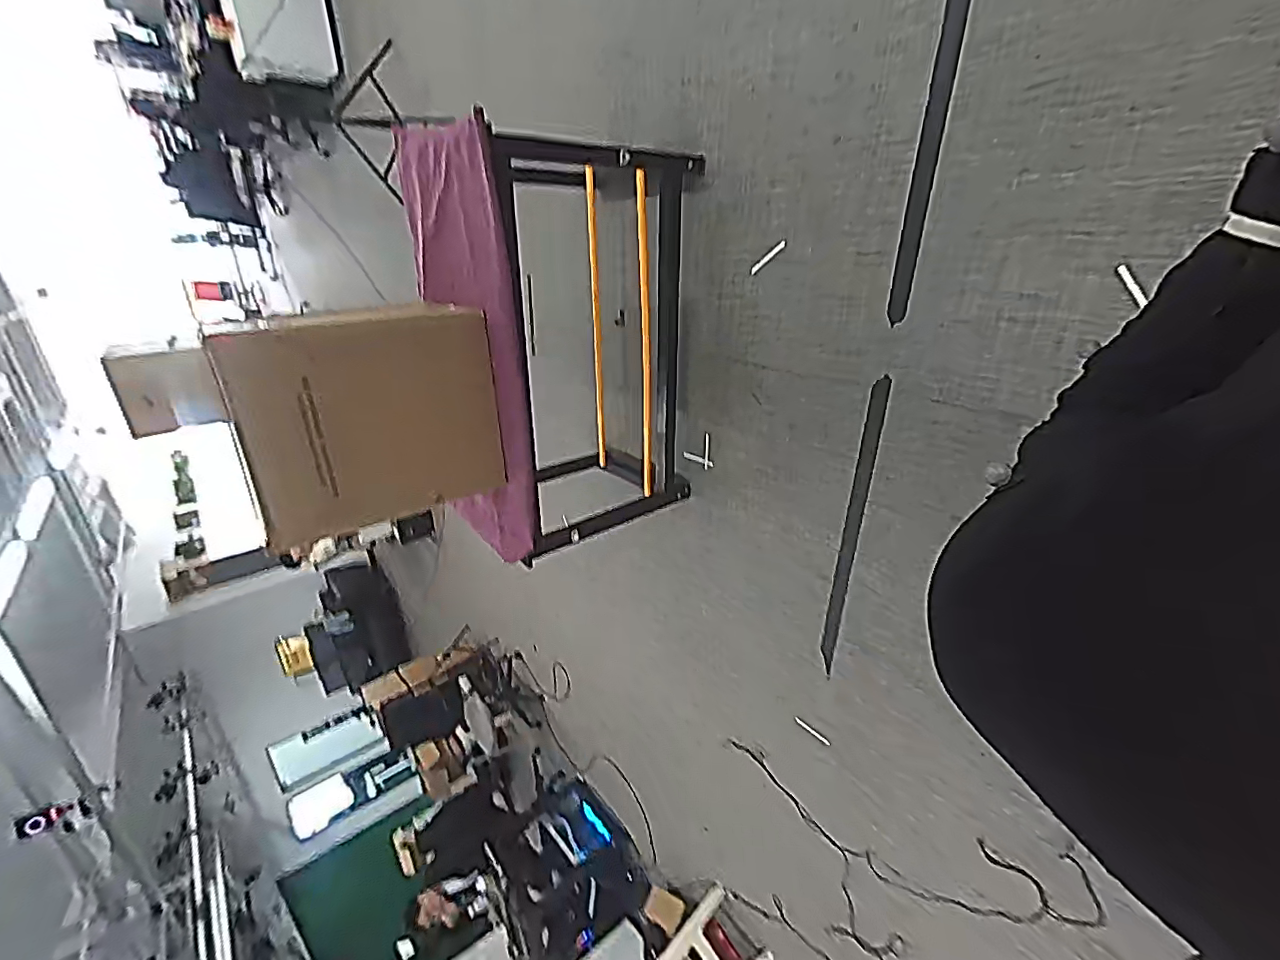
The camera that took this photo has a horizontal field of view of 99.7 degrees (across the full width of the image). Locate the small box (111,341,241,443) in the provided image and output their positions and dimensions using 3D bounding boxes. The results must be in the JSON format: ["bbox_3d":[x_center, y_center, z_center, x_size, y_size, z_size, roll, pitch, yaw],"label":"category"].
[{"bbox_3d":[-0.996,-0.197,1.175,0.168,0.176,0.179,21,122,47],"label":"small box"}]
